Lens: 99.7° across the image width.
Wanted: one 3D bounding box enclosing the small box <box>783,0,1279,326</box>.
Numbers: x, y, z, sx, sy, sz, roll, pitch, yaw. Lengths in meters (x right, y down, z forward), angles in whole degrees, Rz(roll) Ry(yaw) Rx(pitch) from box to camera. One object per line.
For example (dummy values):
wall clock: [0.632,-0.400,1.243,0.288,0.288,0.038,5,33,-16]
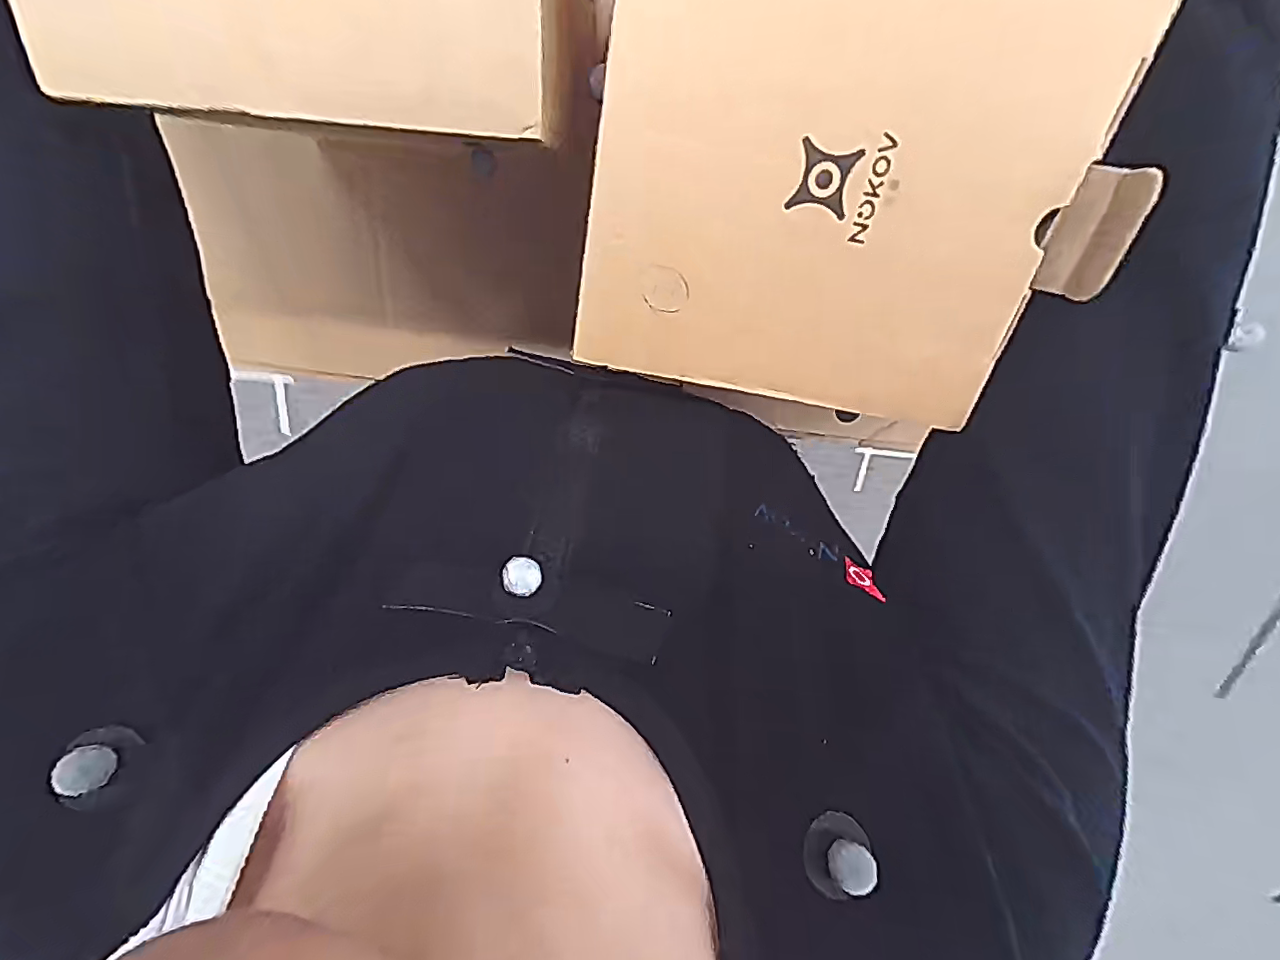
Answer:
small box: [0.184,-0.189,0.221,0.179,0.176,0.168,21,124,-11]
